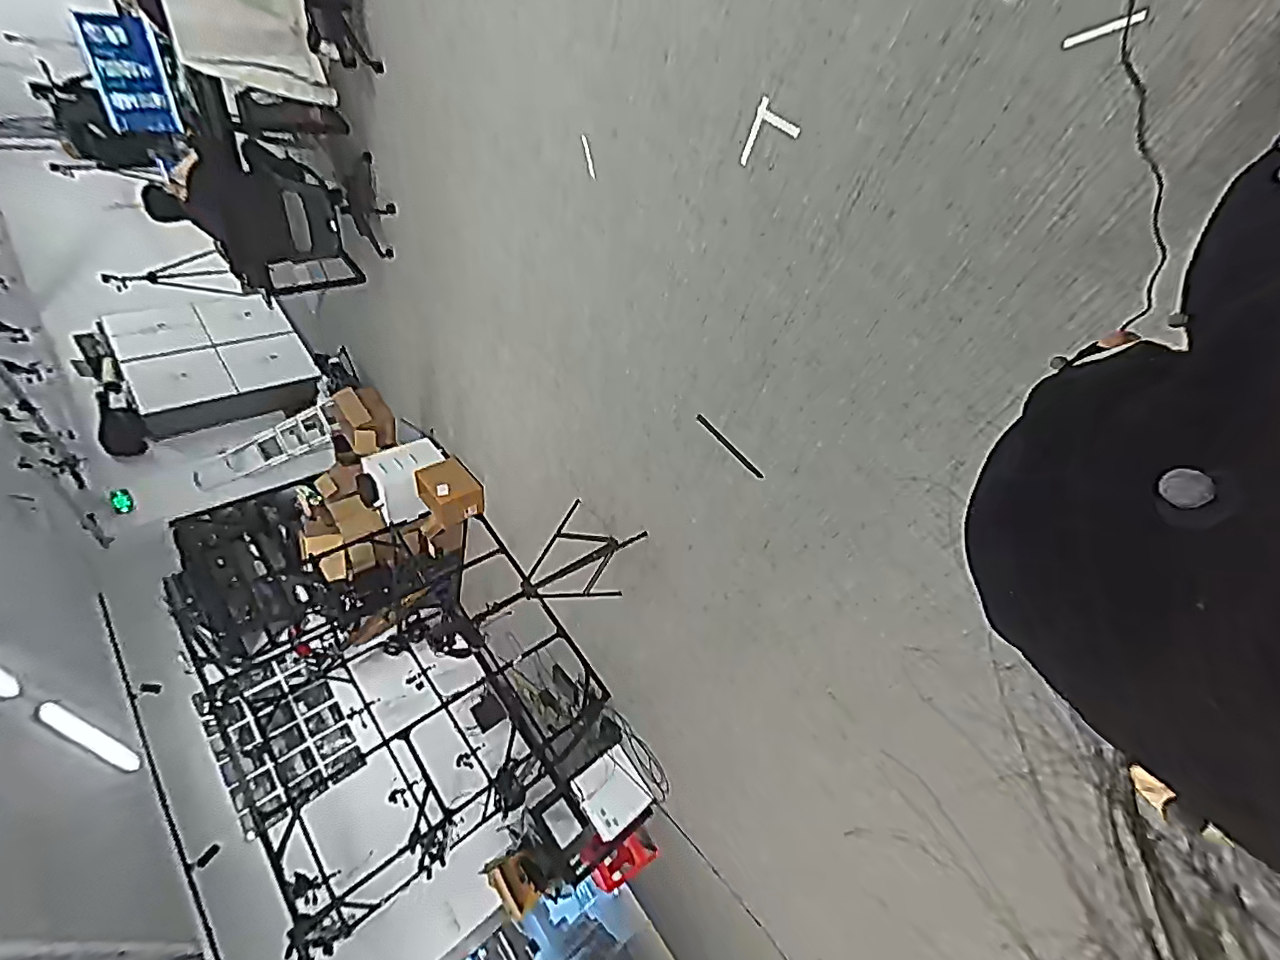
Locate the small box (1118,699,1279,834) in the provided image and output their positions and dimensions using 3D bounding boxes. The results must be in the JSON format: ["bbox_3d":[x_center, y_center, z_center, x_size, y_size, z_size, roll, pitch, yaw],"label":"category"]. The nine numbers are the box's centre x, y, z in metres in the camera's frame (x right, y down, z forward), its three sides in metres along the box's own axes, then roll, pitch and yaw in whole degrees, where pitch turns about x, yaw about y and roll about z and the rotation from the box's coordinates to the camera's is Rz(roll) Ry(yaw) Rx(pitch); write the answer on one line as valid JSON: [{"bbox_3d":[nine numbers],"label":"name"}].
[{"bbox_3d":[1.144,0.581,1.100,0.168,0.176,0.179,50,142,17],"label":"small box"}]
